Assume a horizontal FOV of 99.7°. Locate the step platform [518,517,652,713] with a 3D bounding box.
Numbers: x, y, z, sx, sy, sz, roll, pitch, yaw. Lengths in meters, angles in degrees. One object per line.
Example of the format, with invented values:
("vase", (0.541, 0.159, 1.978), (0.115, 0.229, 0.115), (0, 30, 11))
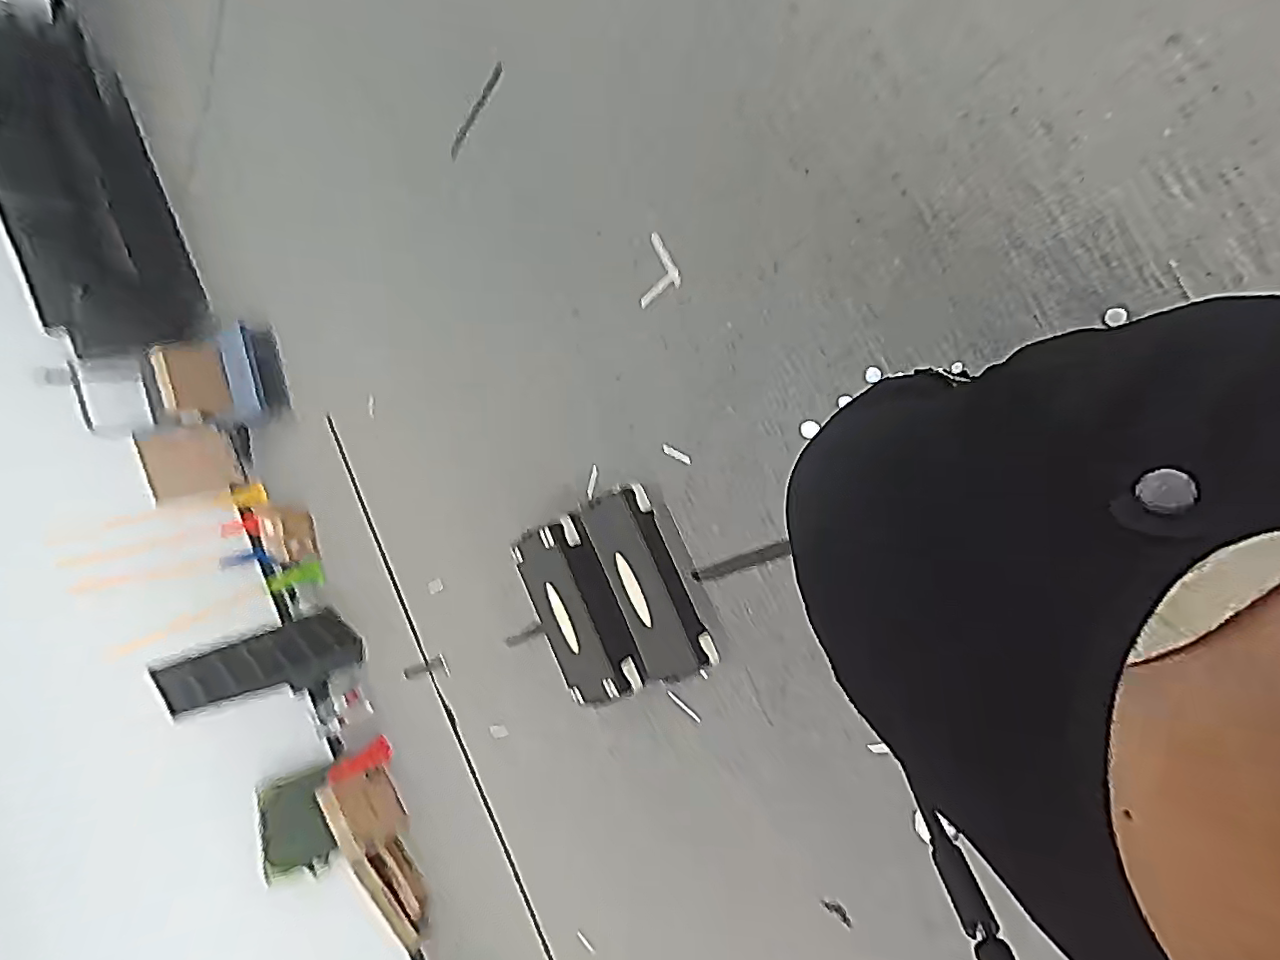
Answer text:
("step platform", (-0.210, 0.493, 1.980), (0.286, 0.204, 0.684), (-22, 84, 40))
